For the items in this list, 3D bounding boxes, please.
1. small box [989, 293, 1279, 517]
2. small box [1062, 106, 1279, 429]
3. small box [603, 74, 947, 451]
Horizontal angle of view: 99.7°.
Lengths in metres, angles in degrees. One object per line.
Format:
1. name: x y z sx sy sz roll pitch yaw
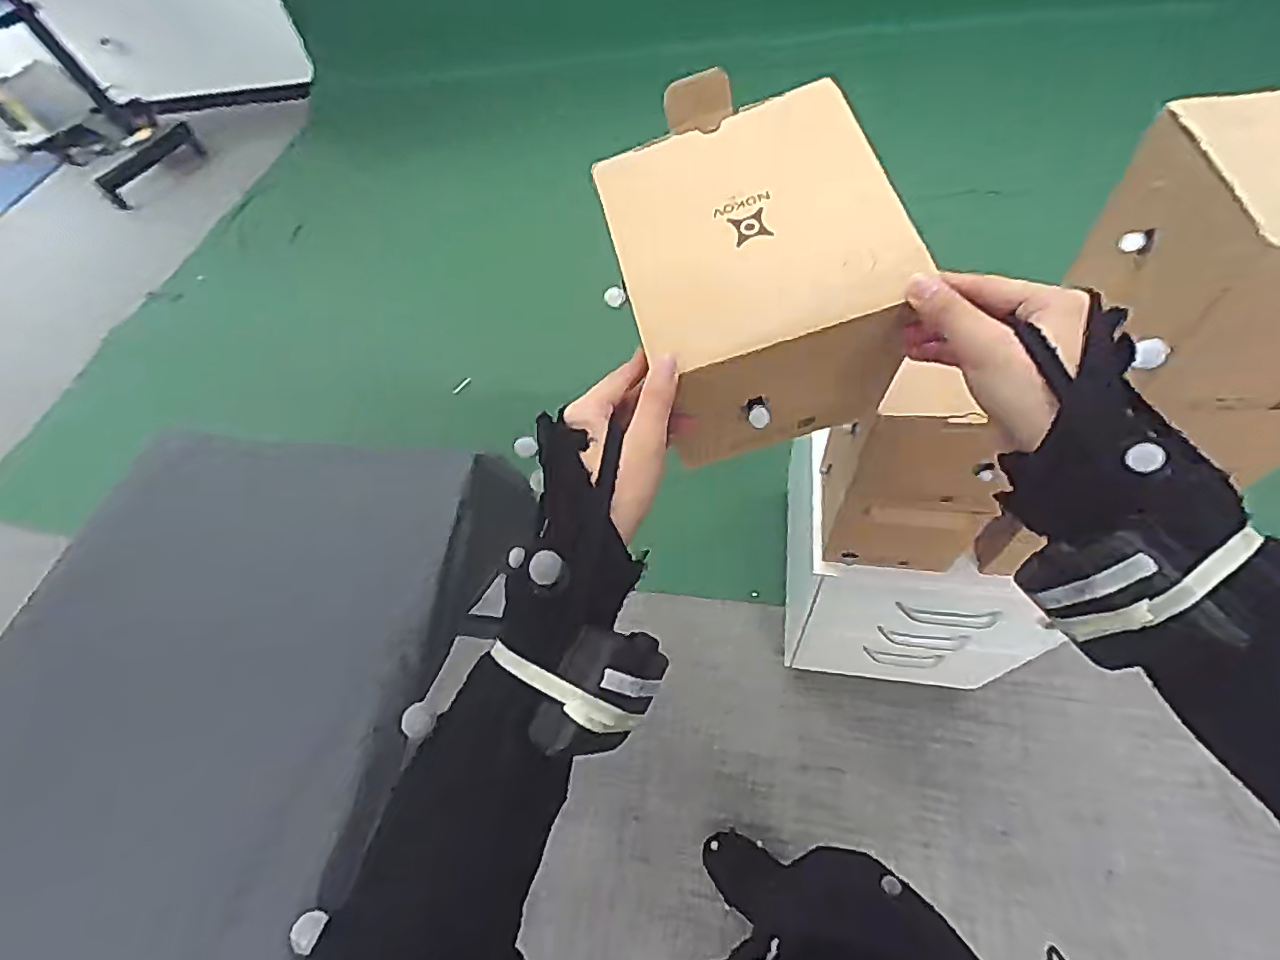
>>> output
1. small box: 0.496 -0.073 0.556 0.168 0.176 0.179 0 58 10
2. small box: 0.474 -0.160 0.419 0.168 0.176 0.179 2 57 11
3. small box: 0.086 -0.135 0.399 0.168 0.176 0.179 -16 70 6
